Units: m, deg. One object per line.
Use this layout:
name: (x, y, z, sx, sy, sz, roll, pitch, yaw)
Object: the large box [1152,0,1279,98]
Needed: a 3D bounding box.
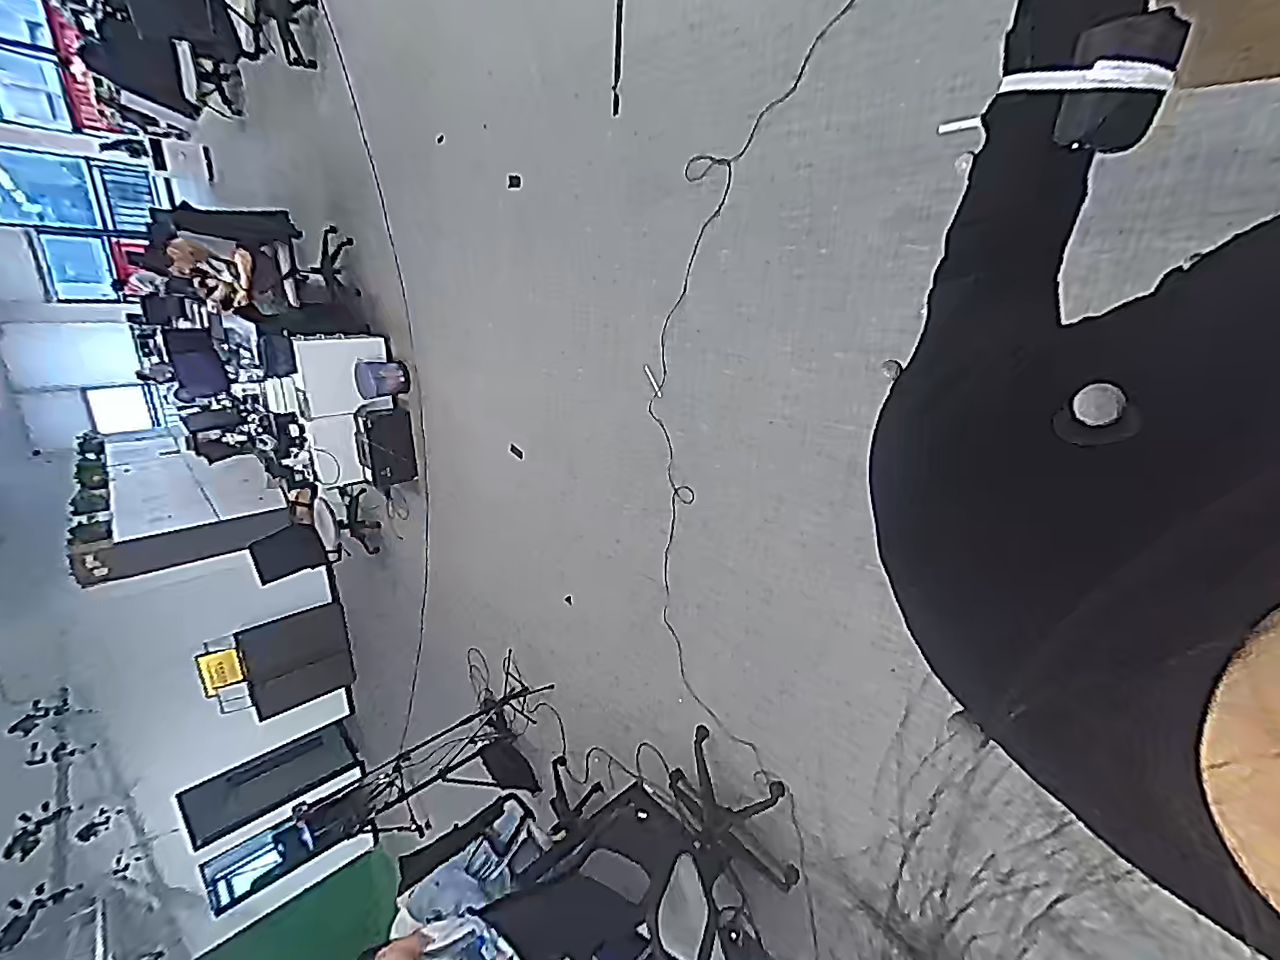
large box: (0.533, -0.411, 0.227, 0.408, 0.320, 0.320, 21, 119, 40)
